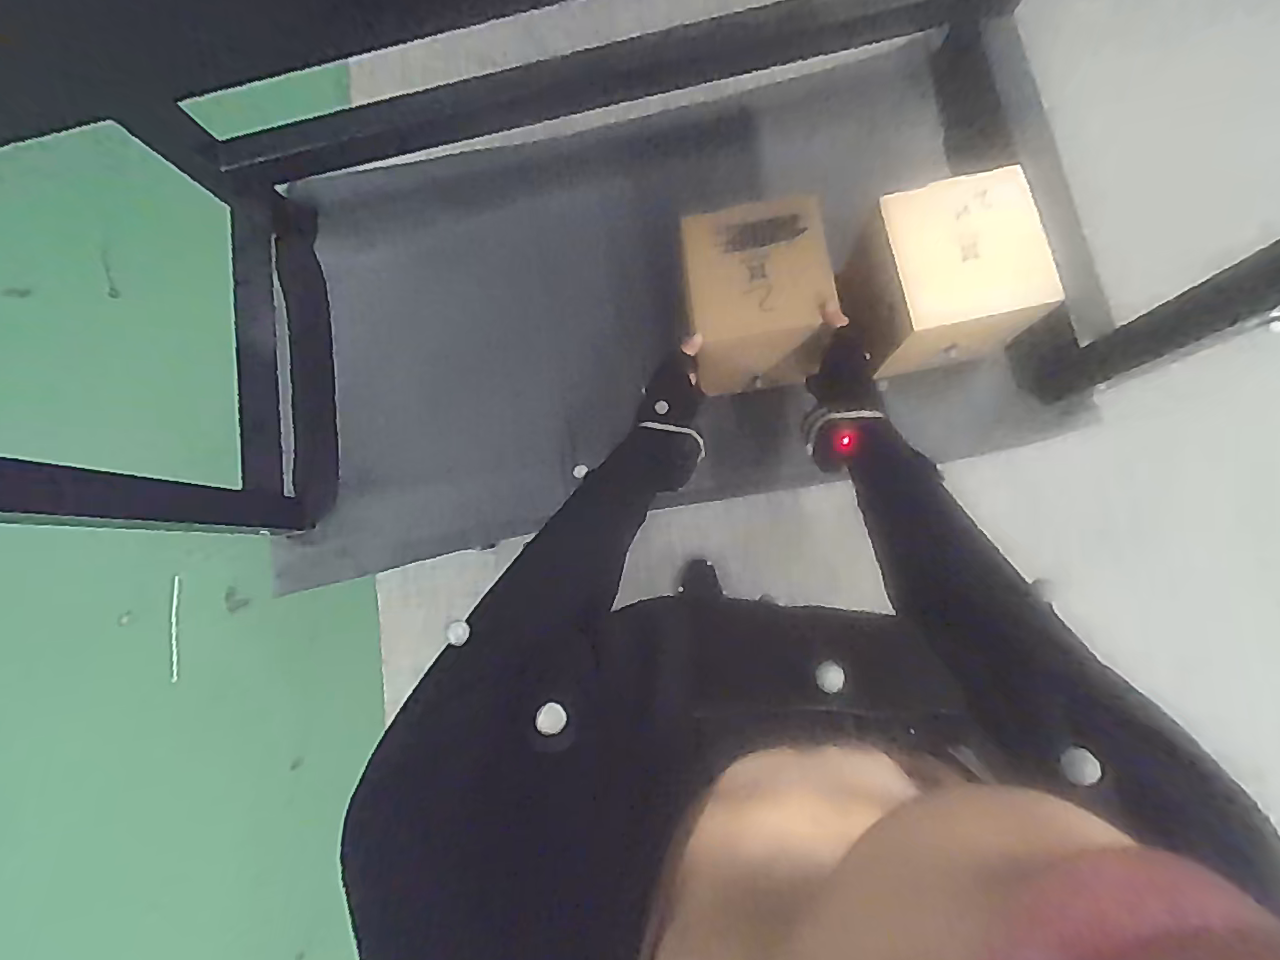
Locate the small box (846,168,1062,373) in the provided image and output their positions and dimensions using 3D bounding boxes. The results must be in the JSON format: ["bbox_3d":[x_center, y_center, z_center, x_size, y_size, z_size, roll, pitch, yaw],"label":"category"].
[{"bbox_3d":[0.385,-0.252,0.699,0.168,0.176,0.179,-12,79,5],"label":"small box"}]
